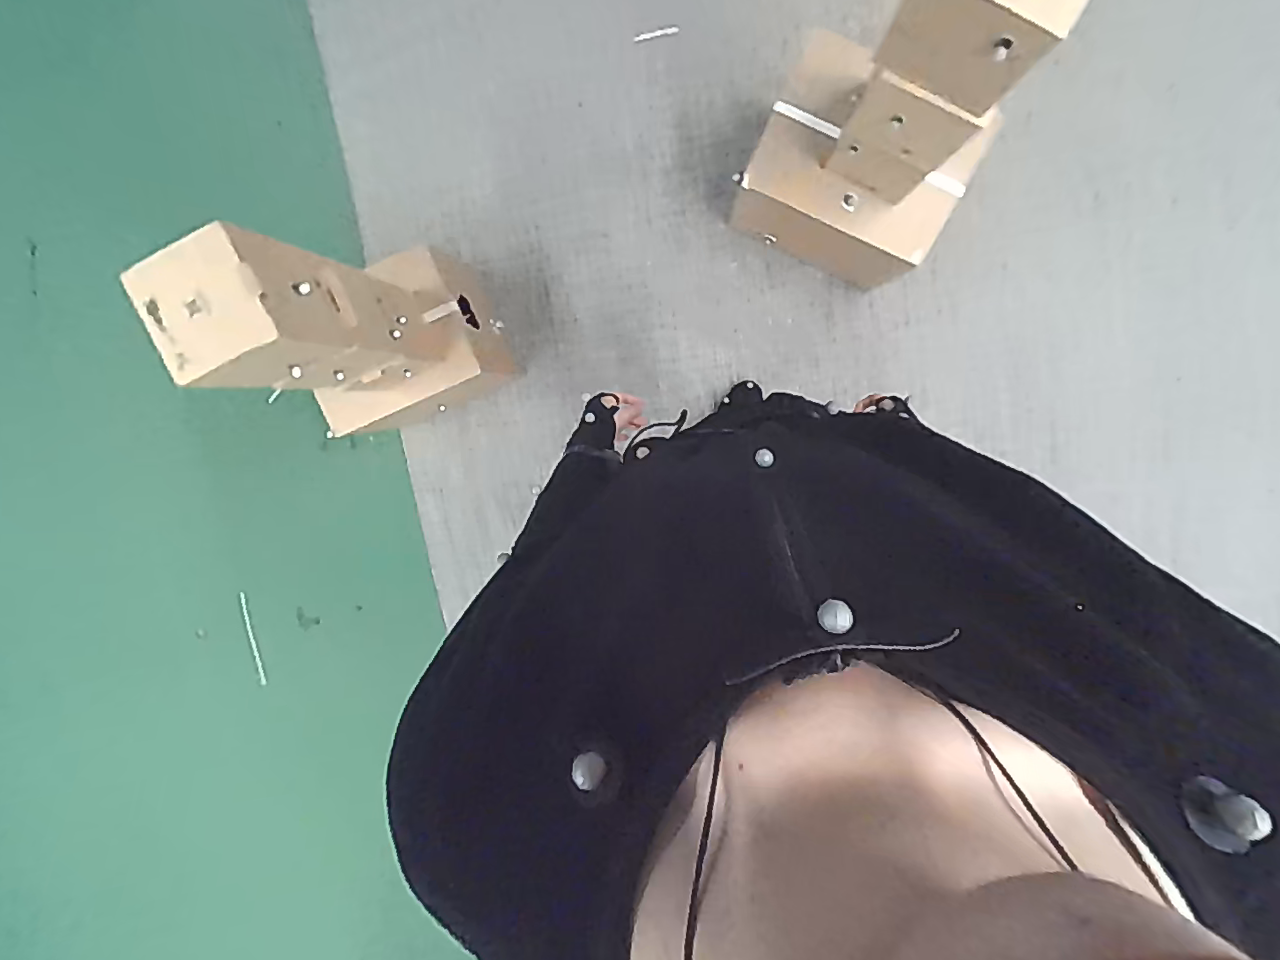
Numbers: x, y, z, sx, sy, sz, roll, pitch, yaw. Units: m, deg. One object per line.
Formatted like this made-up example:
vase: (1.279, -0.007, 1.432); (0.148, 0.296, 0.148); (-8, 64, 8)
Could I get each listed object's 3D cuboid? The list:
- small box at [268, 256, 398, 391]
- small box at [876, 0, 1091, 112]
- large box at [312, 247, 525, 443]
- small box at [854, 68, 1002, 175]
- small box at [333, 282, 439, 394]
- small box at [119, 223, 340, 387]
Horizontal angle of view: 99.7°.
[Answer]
small box: (-0.565, -0.269, 0.964); (0.179, 0.176, 0.168); (-22, 96, 9)
small box: (0.423, -0.588, 0.647); (0.179, 0.176, 0.168); (28, 98, 1)
large box: (-0.570, -0.323, 1.371); (0.408, 0.320, 0.320); (-22, 95, 10)
small box: (0.446, -0.600, 0.810); (0.168, 0.176, 0.179); (27, 98, 1)
small box: (-0.551, -0.290, 1.126); (0.168, 0.176, 0.179); (-21, 96, 8)
small box: (-0.585, -0.245, 0.802); (0.179, 0.176, 0.168); (-21, 96, 7)
